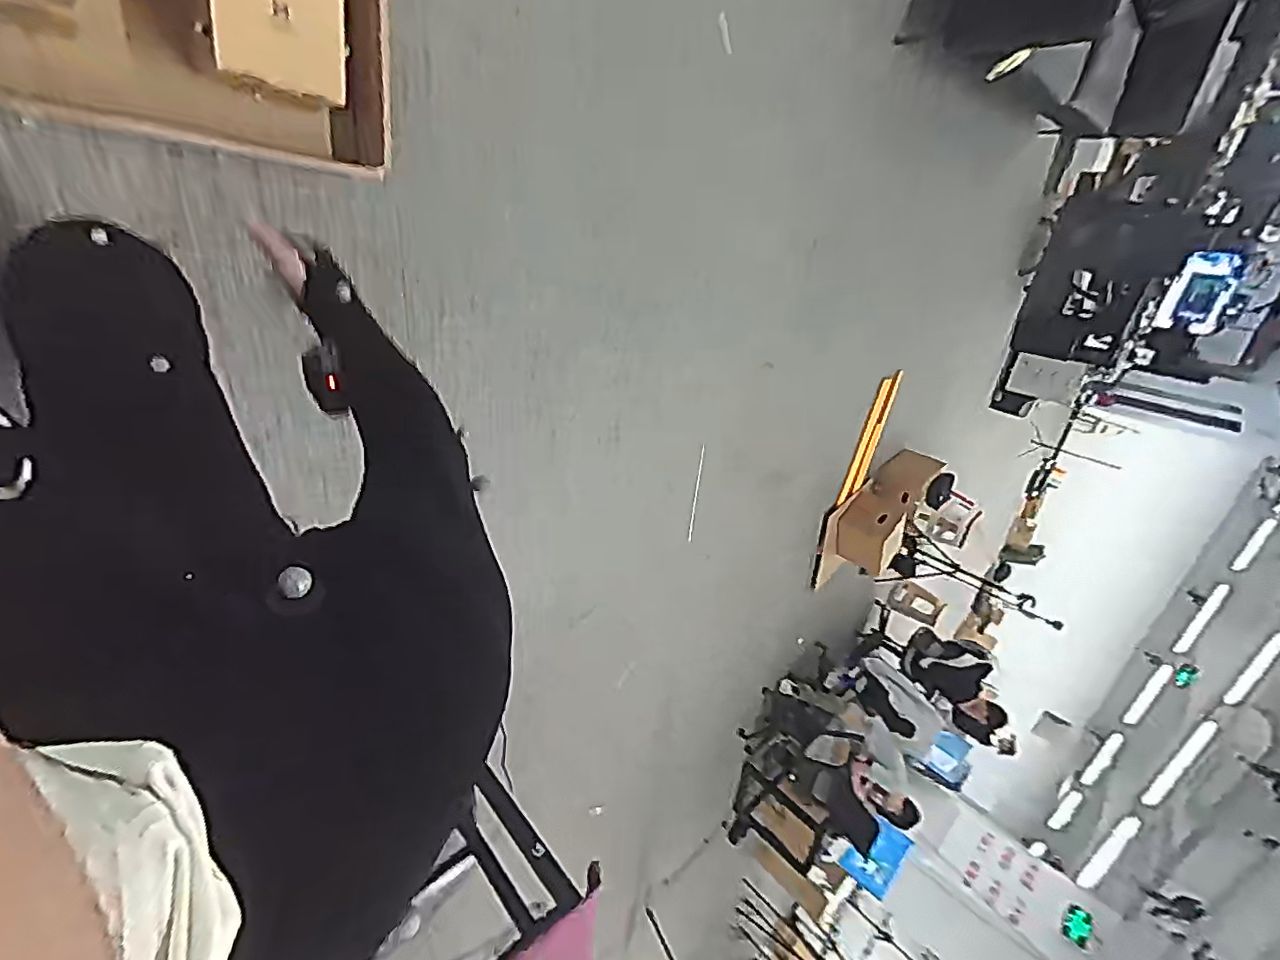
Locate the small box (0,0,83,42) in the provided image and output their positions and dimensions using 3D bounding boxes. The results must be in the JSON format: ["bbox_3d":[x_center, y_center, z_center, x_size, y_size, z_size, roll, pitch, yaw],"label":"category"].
[{"bbox_3d":[-0.766,-0.638,0.609,0.168,0.176,0.179,-13,120,-43],"label":"small box"}]
